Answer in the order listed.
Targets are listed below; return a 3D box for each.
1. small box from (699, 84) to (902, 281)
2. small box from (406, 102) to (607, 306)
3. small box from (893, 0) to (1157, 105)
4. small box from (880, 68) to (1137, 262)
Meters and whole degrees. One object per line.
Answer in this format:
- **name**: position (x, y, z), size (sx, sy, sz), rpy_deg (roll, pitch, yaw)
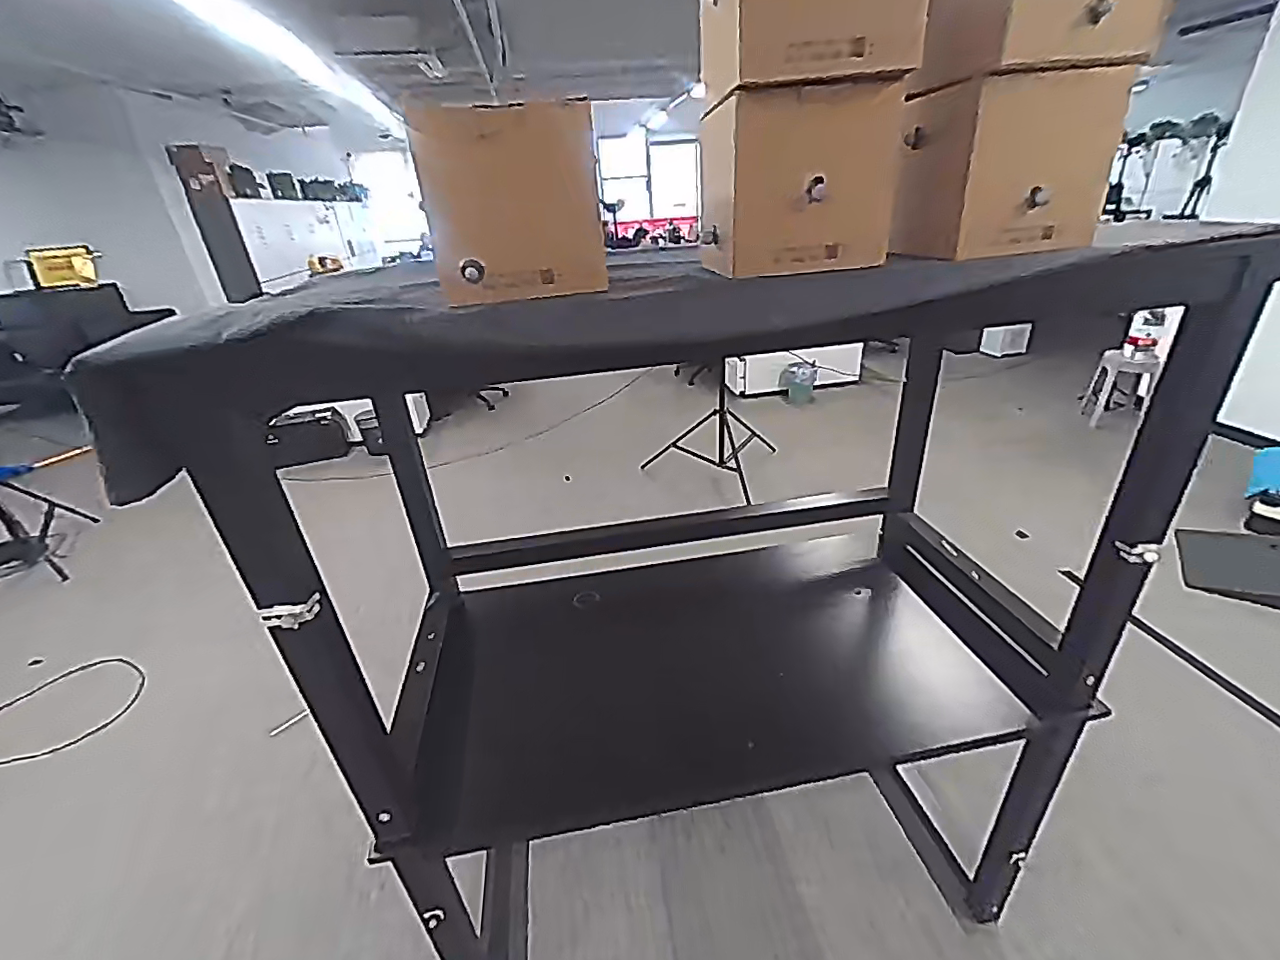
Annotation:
- **small box**: position (0.166, -0.323, 0.611), size (0.168, 0.176, 0.179), rpy_deg (-6, 26, -4)
- **small box**: position (-0.134, -0.287, 0.585), size (0.168, 0.176, 0.179), rpy_deg (-9, 25, -10)
- **small box**: position (0.390, -0.497, 0.544), size (0.179, 0.176, 0.168), rpy_deg (-9, 26, -9)
- **small box**: position (0.400, -0.353, 0.629), size (0.168, 0.176, 0.179), rpy_deg (-8, 27, -5)
